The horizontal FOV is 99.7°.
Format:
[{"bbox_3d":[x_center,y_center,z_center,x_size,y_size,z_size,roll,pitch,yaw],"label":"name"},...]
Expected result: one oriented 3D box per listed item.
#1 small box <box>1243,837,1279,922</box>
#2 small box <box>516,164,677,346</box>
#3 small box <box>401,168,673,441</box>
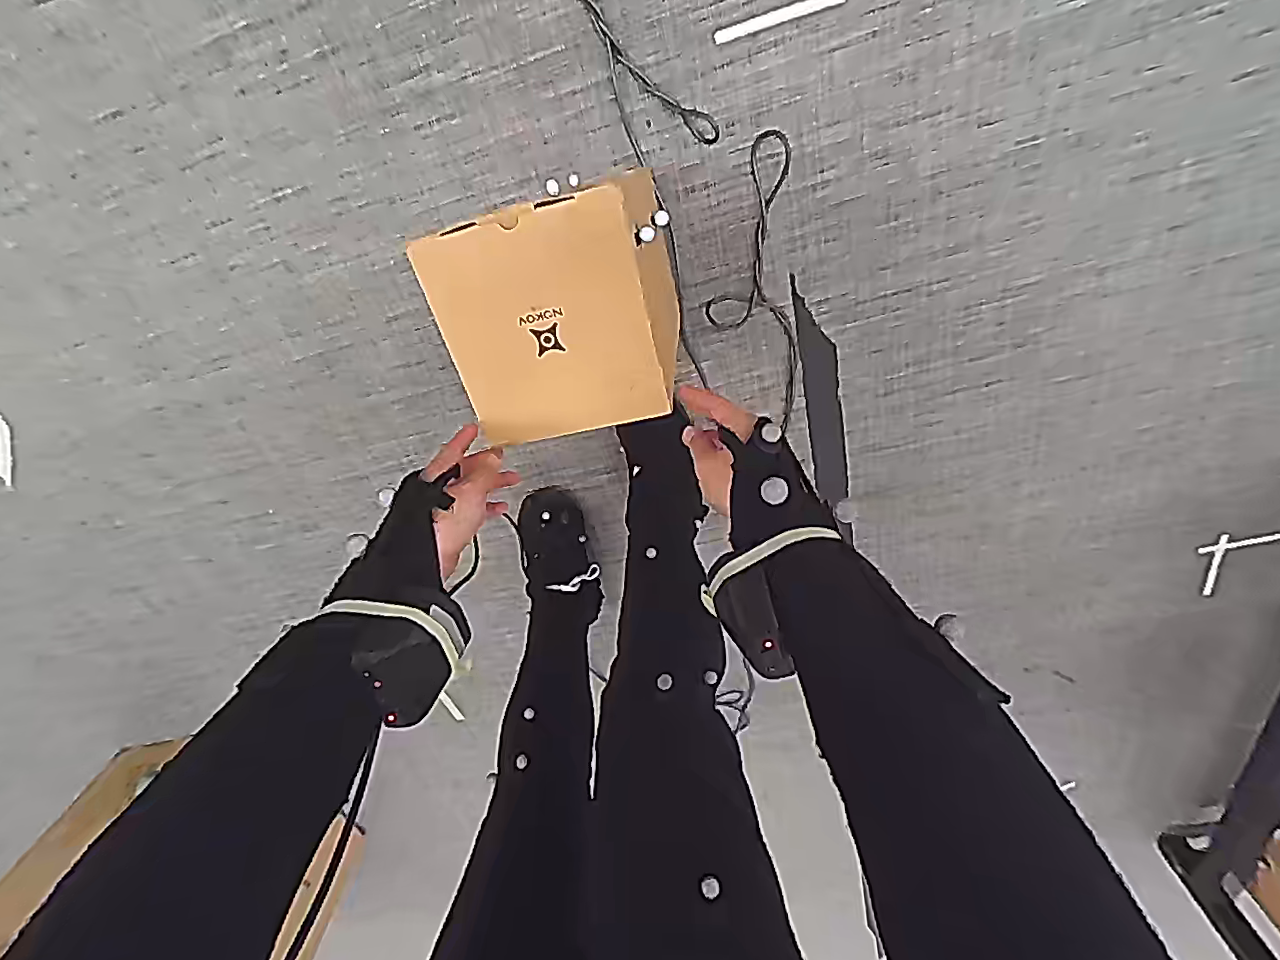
[{"bbox_3d":[1.381,0.831,1.072,0.179,0.176,0.168,-12,119,9],"label":"small box"},{"bbox_3d":[-0.055,-0.245,0.620,0.168,0.176,0.179,-10,121,11],"label":"small box"},{"bbox_3d":[-0.068,-0.160,0.482,0.168,0.176,0.179,-10,119,11],"label":"small box"}]
